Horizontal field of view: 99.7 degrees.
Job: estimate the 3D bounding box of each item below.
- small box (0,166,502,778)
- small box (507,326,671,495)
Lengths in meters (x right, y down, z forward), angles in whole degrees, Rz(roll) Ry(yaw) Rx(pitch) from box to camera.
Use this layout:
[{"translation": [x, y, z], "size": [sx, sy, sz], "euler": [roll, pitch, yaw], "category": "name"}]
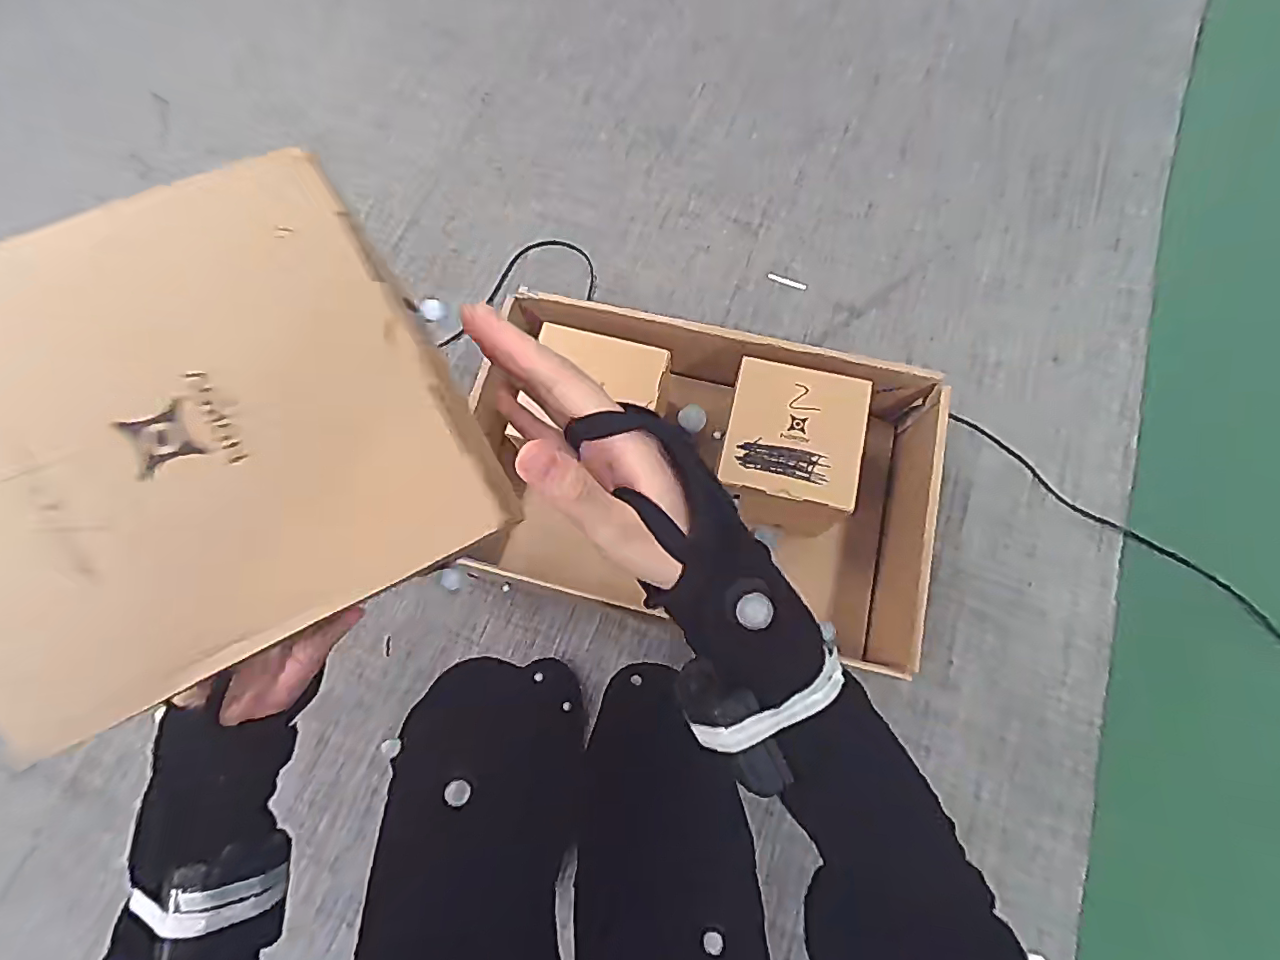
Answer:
[{"translation": [-0.182, -0.006, 0.271], "size": [0.179, 0.176, 0.168], "euler": [-27, 91, -8], "category": "small box"}, {"translation": [-0.061, -0.089, 0.768], "size": [0.179, 0.176, 0.168], "euler": [14, 76, 5], "category": "small box"}]
